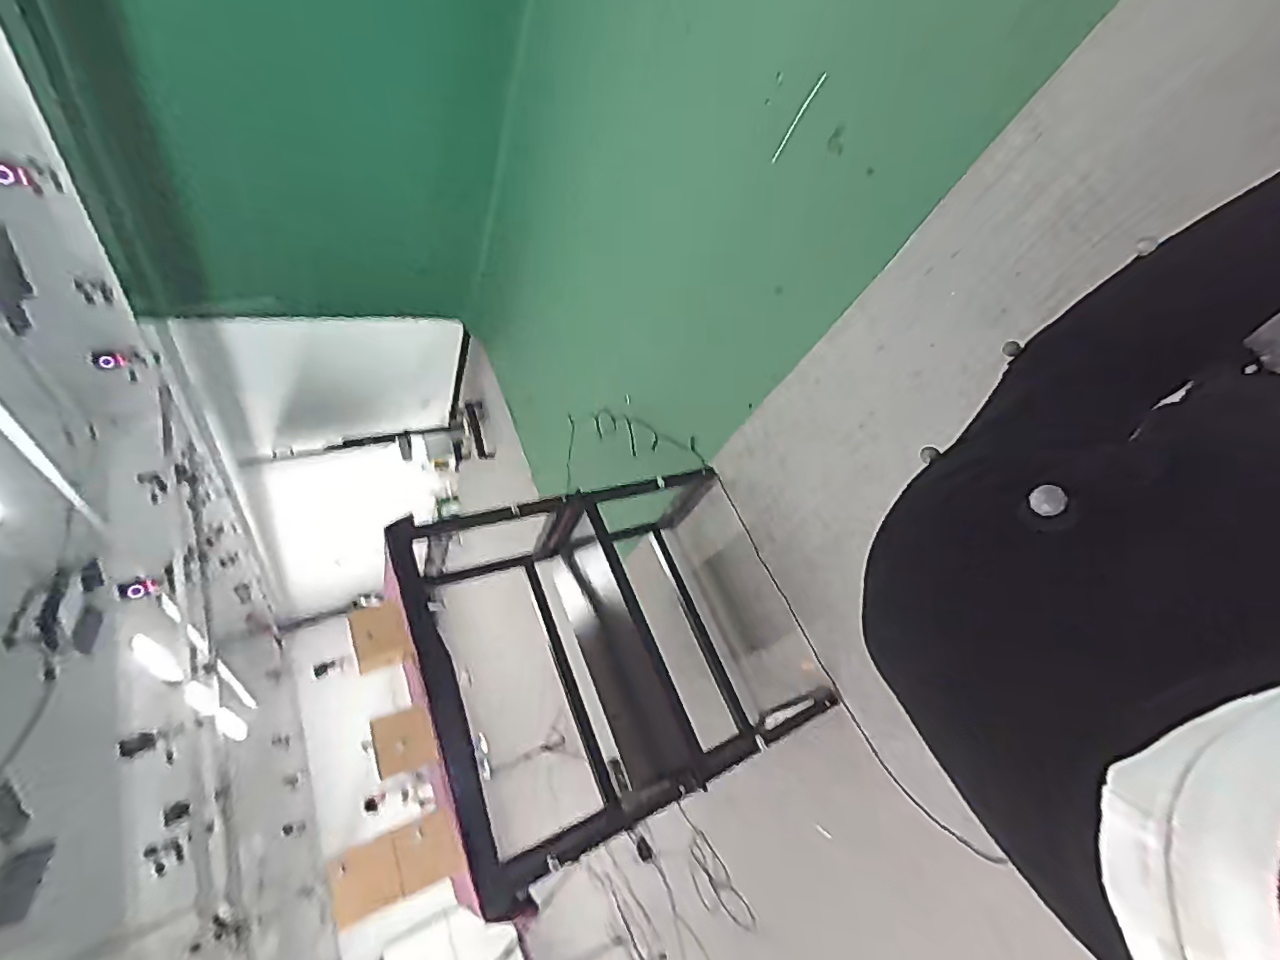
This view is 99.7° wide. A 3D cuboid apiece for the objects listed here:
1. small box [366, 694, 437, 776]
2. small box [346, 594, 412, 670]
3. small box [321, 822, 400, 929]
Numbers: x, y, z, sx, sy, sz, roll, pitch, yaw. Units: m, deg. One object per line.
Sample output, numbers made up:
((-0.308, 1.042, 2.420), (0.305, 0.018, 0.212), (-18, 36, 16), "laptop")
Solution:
((-0.741, 0.794, 1.683), (0.168, 0.176, 0.179), (-51, 57, 52), "small box")
((-0.866, 0.504, 1.799), (0.179, 0.176, 0.168), (65, 145, 22), "small box")
((-0.770, 1.083, 1.498), (0.168, 0.176, 0.179), (-49, 56, 53), "small box")
